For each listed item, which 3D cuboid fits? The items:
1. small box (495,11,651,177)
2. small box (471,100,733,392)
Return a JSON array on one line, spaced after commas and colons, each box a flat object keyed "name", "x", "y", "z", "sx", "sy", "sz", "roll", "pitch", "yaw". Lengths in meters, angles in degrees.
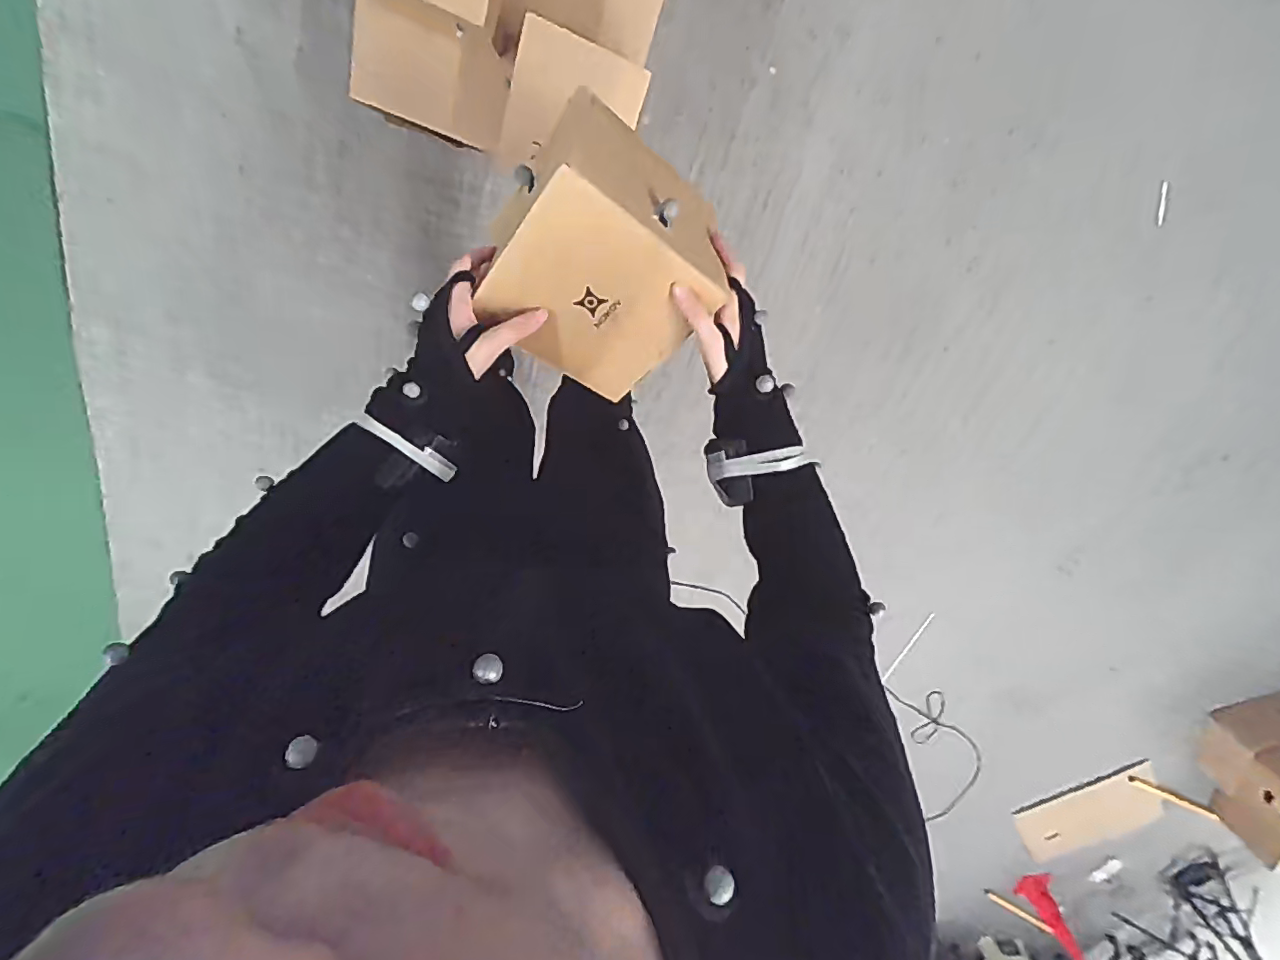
[{"name": "small box", "x": -0.100, "y": -0.510, "z": 0.776, "sx": 0.168, "sy": 0.176, "sz": 0.179, "roll": 16, "pitch": 115, "yaw": -16}, {"name": "small box", "x": -0.037, "y": -0.226, "z": 0.526, "sx": 0.179, "sy": 0.176, "sz": 0.168, "roll": 25, "pitch": 135, "yaw": -31}]
